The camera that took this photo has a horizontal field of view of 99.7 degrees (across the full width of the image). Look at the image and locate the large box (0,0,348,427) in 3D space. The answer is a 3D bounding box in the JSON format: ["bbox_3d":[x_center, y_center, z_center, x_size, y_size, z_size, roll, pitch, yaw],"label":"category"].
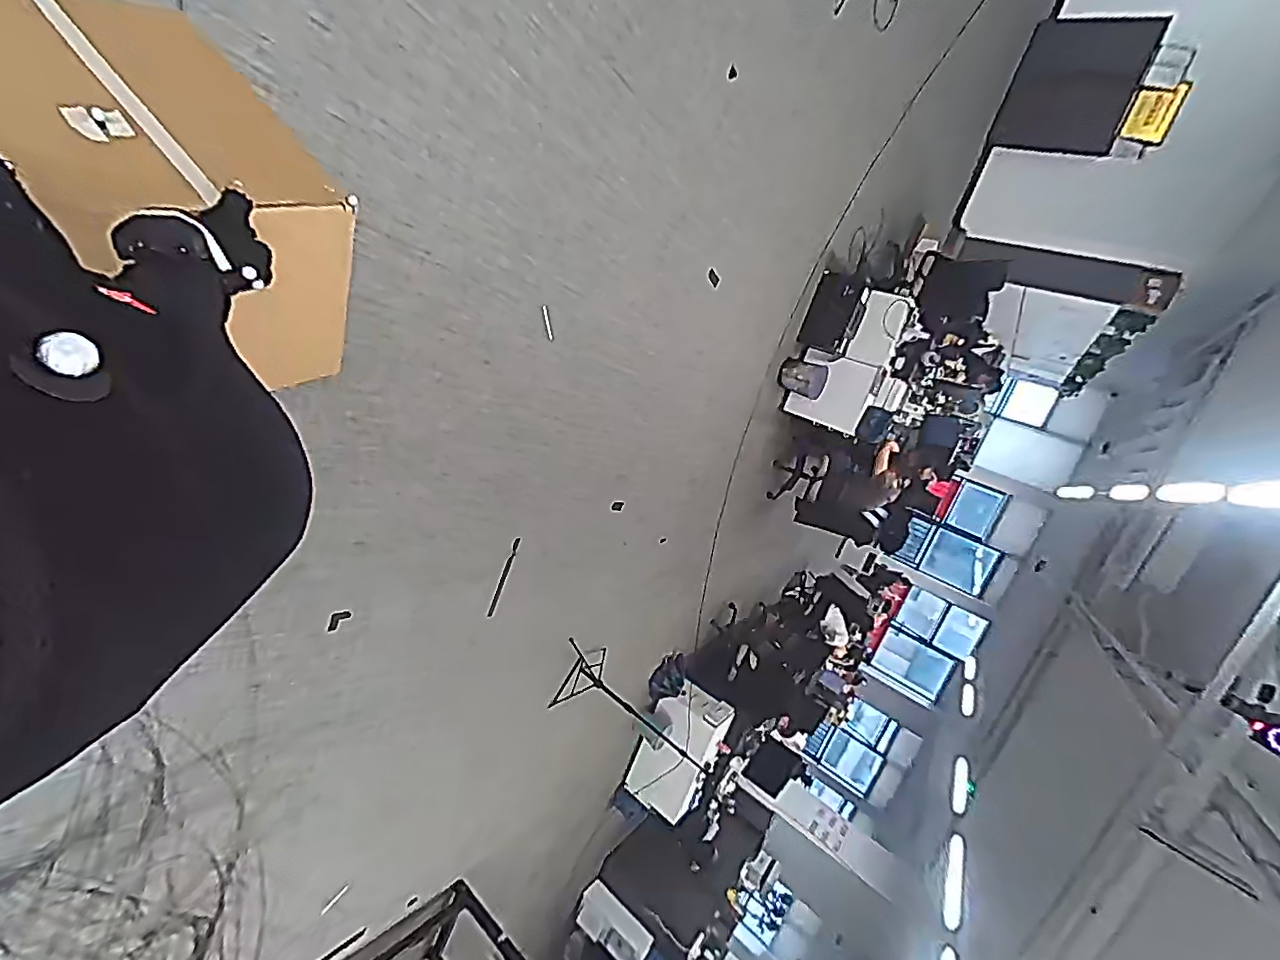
[{"bbox_3d":[-0.664,-0.349,0.716,0.320,0.408,0.320,-36,171,-43],"label":"large box"}]
